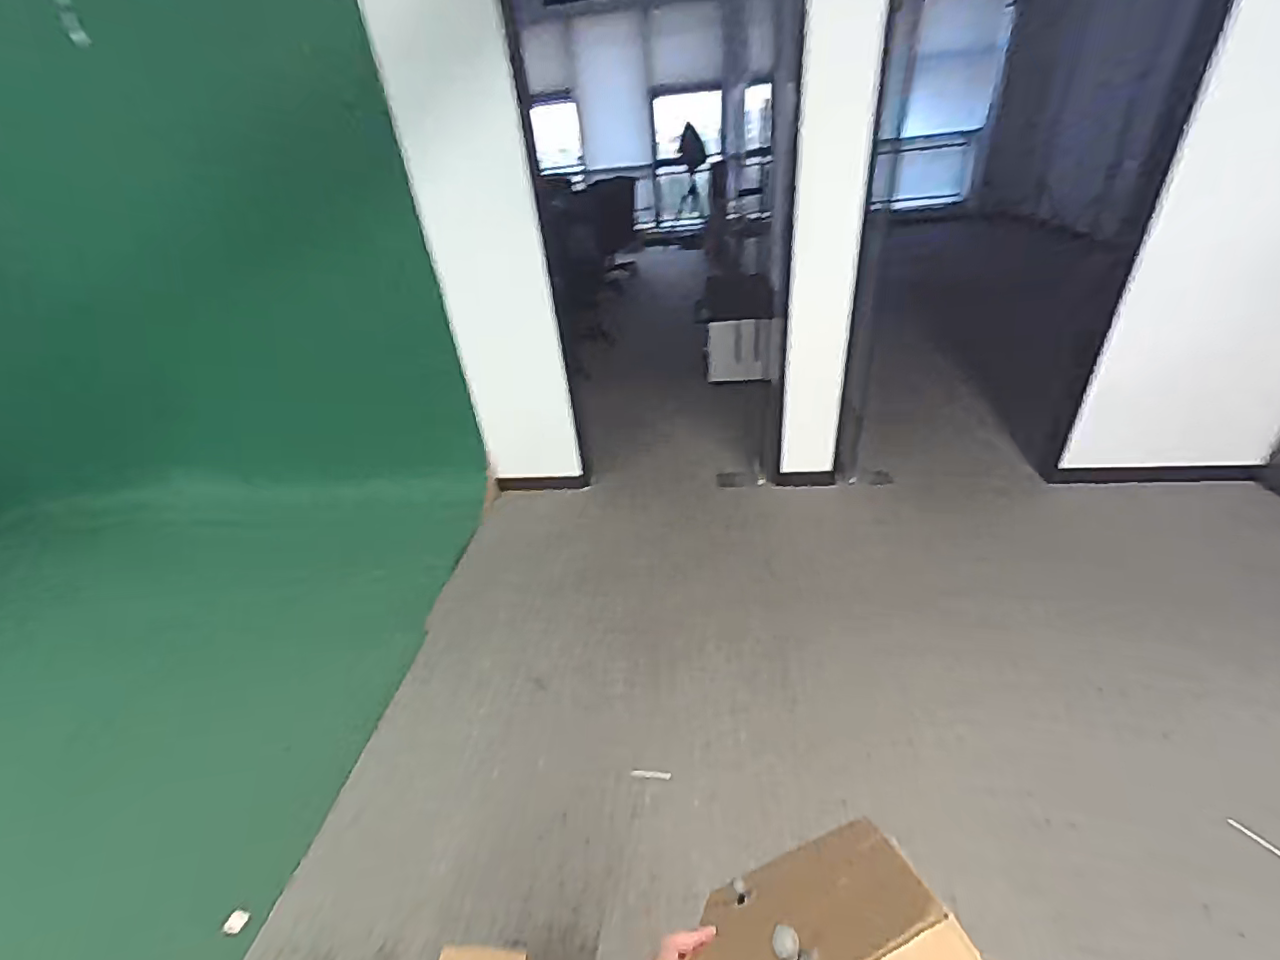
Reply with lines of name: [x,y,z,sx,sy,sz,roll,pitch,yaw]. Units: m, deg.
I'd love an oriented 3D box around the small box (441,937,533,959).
small box: [-0.304,1.032,1.055,0.179,0.176,0.168,-1,33,7]

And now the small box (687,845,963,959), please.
small box: [0.112,0.328,0.275,0.179,0.176,0.168,-32,64,-1]

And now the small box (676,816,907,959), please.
small box: [0.151,0.395,0.419,0.179,0.176,0.168,-28,64,1]
